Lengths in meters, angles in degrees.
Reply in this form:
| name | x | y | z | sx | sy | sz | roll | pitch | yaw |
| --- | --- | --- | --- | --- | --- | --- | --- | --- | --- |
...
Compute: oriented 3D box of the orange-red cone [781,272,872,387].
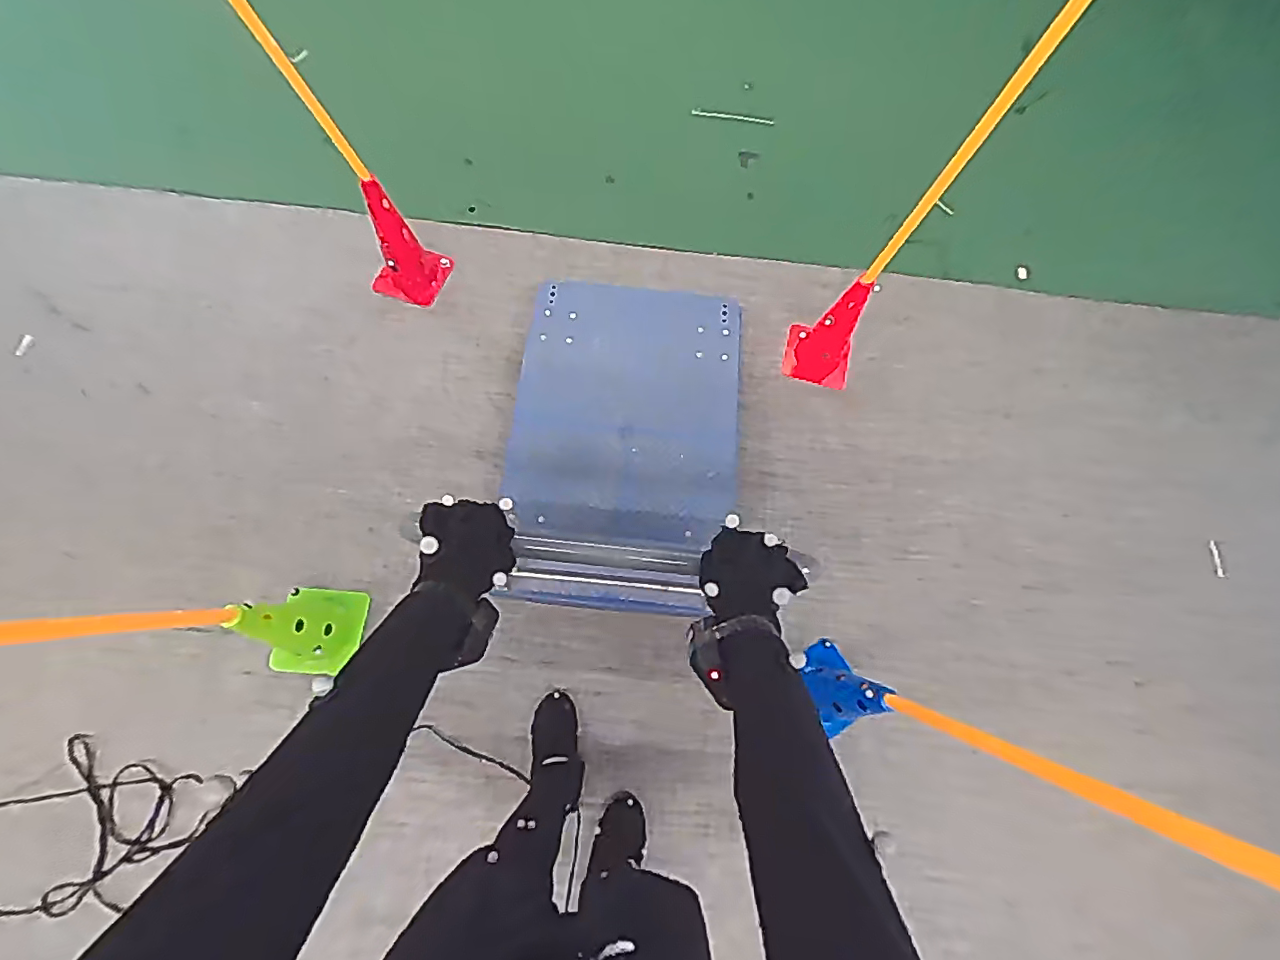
| name | x | y | z | sx | sy | sz | roll | pitch | yaw |
| --- | --- | --- | --- | --- | --- | --- | --- | --- | --- |
| orange-red cone | 0.560 | -0.448 | 1.525 | 0.198 | 0.360 | 0.199 | 16 | 71 | 3 |
